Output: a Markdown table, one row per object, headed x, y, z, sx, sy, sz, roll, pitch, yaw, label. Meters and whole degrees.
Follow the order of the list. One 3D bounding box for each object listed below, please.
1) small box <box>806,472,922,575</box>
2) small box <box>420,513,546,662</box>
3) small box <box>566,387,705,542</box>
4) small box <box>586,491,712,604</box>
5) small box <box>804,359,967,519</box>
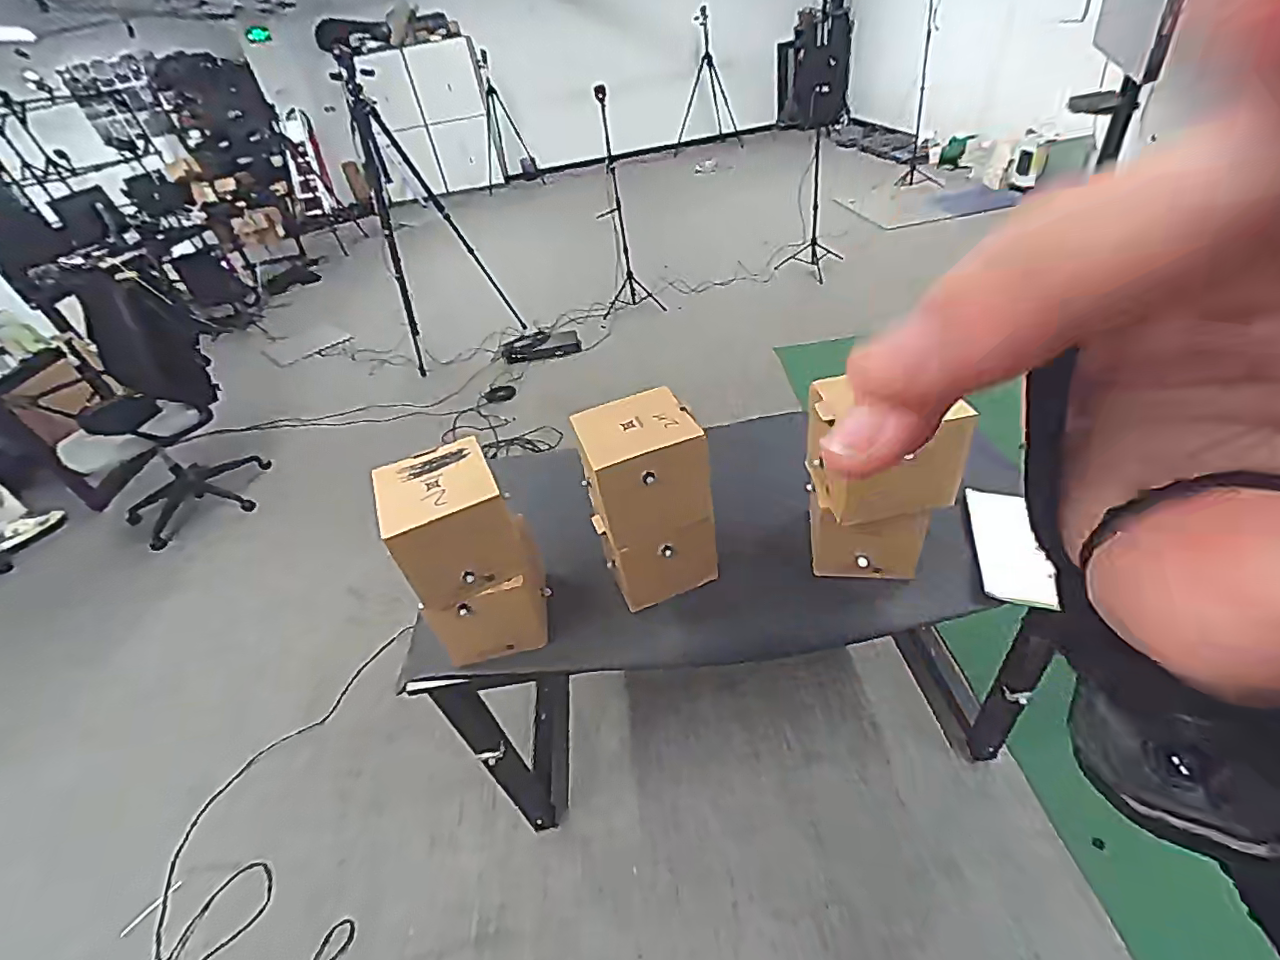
| x | y | z | sx | sy | sz | roll | pitch | yaw | label |
| --- | --- | --- | --- | --- | --- | --- | --- | --- | --- |
| 0.387 | 0.046 | 0.967 | 0.168 | 0.176 | 0.179 | 0 | 41 | 15 | small box |
| -0.267 | 0.189 | 0.959 | 0.168 | 0.176 | 0.179 | -13 | 39 | -2 | small box |
| -0.005 | -0.024 | 0.893 | 0.179 | 0.176 | 0.168 | -19 | 40 | -9 | small box |
| 0.020 | 0.099 | 1.000 | 0.179 | 0.176 | 0.168 | -20 | 40 | -11 | small box |
| 0.366 | -0.063 | 0.845 | 0.179 | 0.176 | 0.168 | -11 | 38 | 2 | small box |
